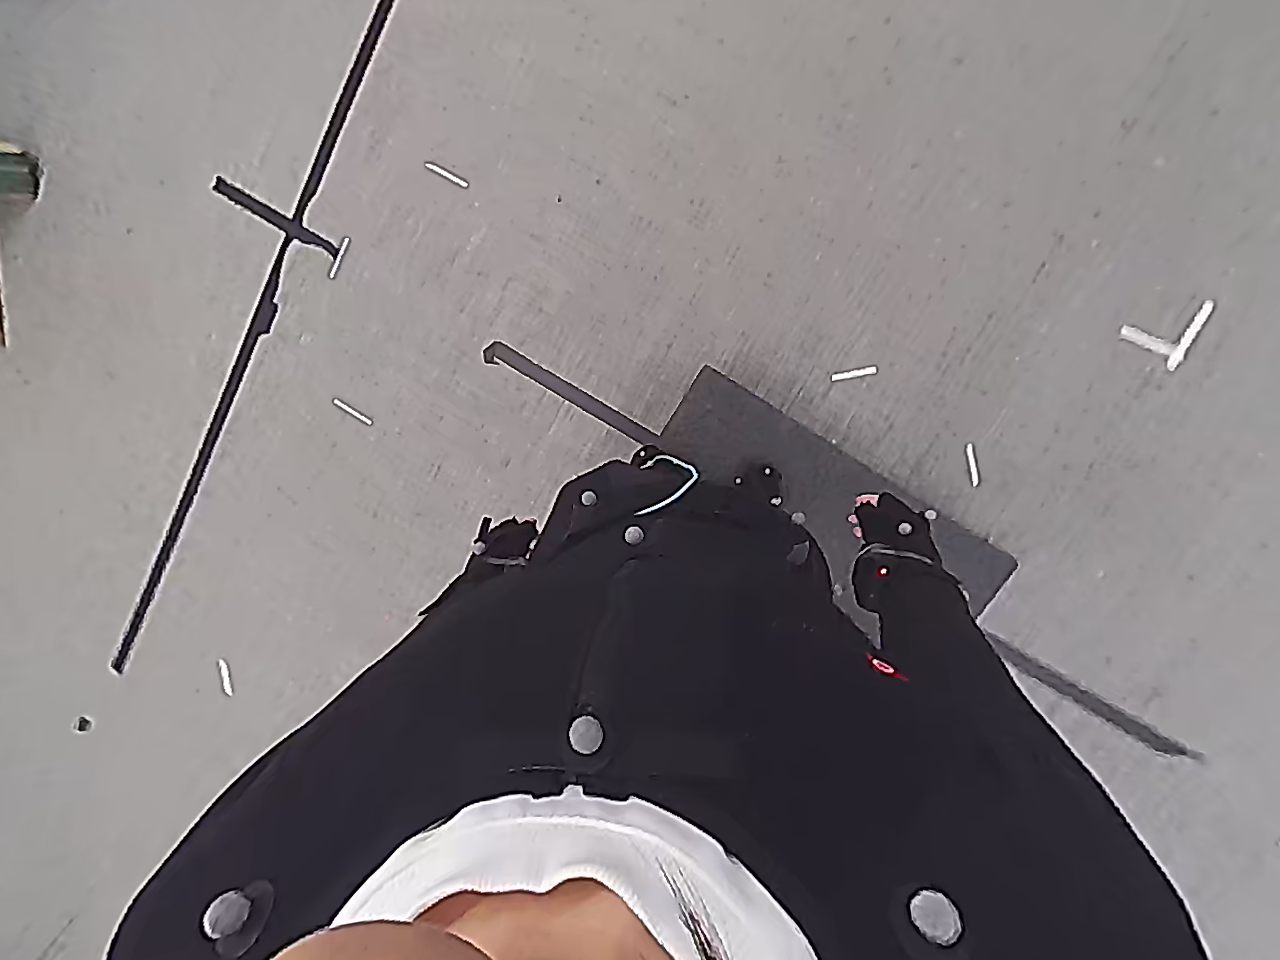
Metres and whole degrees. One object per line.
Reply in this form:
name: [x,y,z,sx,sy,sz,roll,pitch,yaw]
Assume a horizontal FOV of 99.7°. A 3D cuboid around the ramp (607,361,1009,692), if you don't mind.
ramp: [0.454,0.144,1.457,0.991,0.206,0.509,31,98,6]
